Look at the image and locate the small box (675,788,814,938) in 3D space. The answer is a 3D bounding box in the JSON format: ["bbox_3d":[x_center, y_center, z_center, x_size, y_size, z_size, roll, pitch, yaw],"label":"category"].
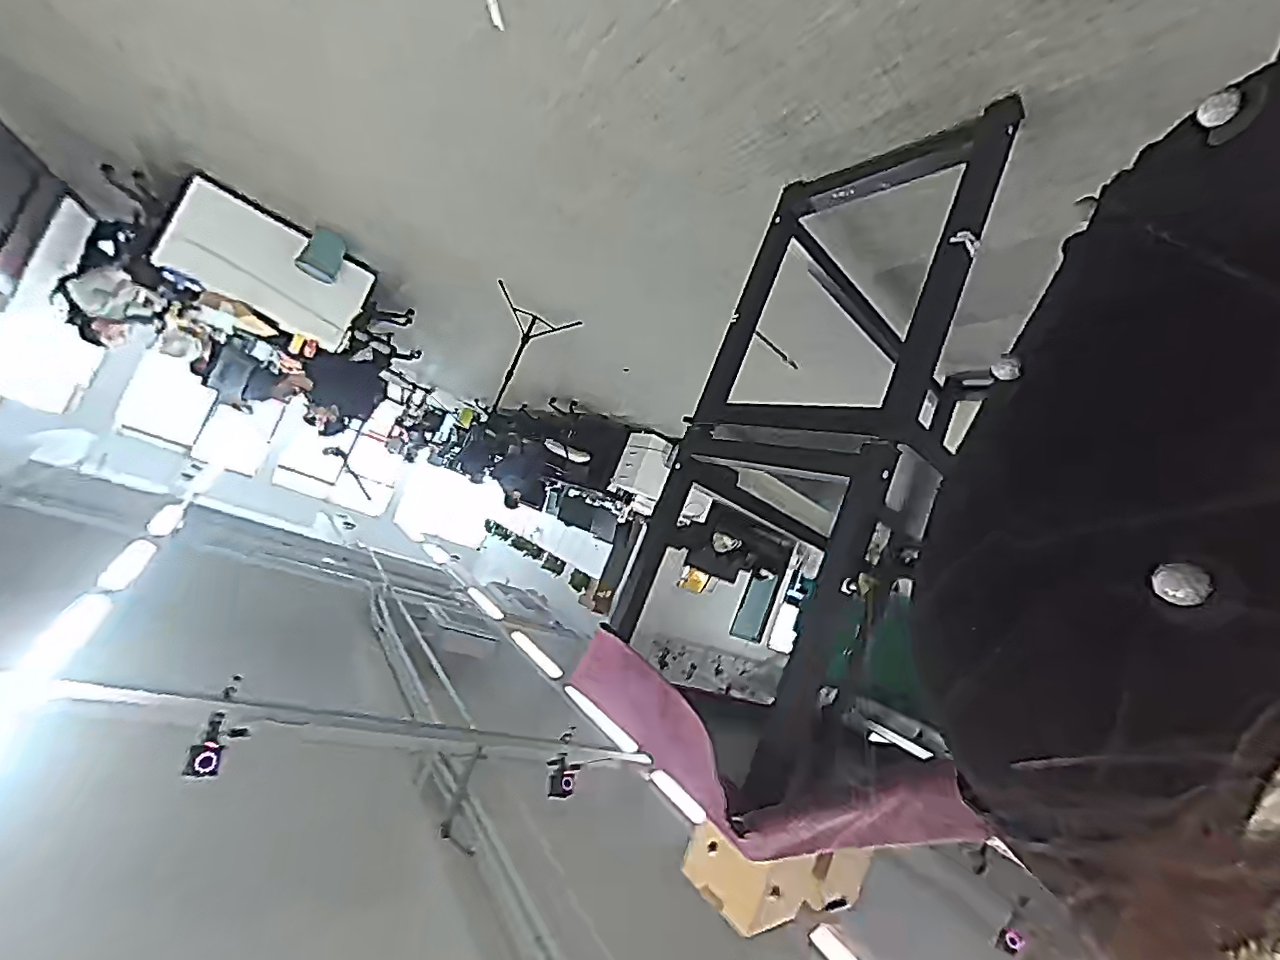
[{"bbox_3d":[0.204,0.723,1.045,0.179,0.176,0.168,27,174,-40],"label":"small box"}]

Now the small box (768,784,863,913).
[{"bbox_3d":[0.374,0.811,1.209,0.168,0.176,0.179,27,173,-36],"label":"small box"}]
